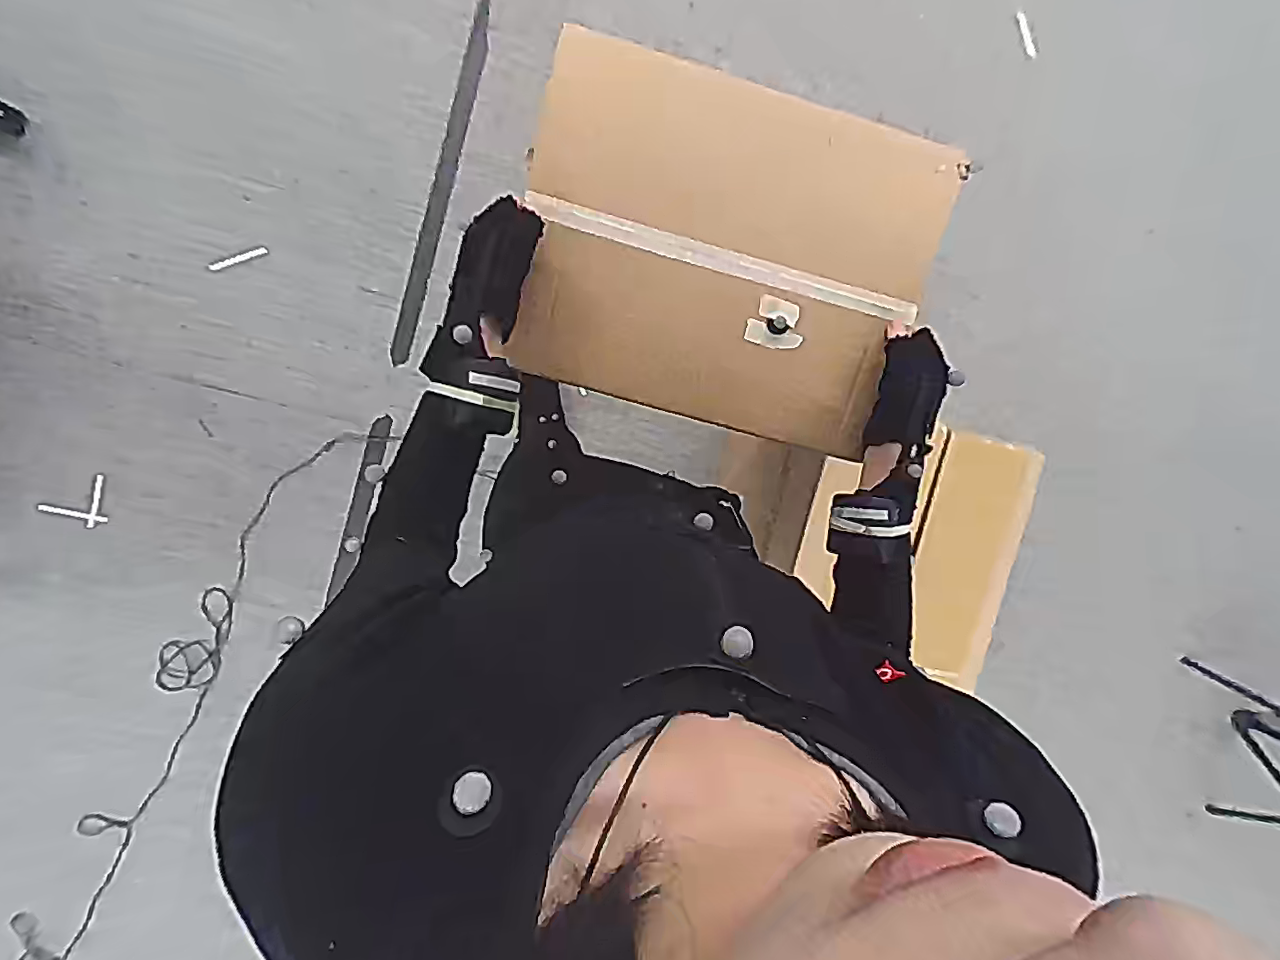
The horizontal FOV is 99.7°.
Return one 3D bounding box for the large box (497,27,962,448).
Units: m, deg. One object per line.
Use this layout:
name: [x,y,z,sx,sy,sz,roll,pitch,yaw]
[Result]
large box: [0.076,-0.248,0.672,0.408,0.320,0.320,14,101,-5]
